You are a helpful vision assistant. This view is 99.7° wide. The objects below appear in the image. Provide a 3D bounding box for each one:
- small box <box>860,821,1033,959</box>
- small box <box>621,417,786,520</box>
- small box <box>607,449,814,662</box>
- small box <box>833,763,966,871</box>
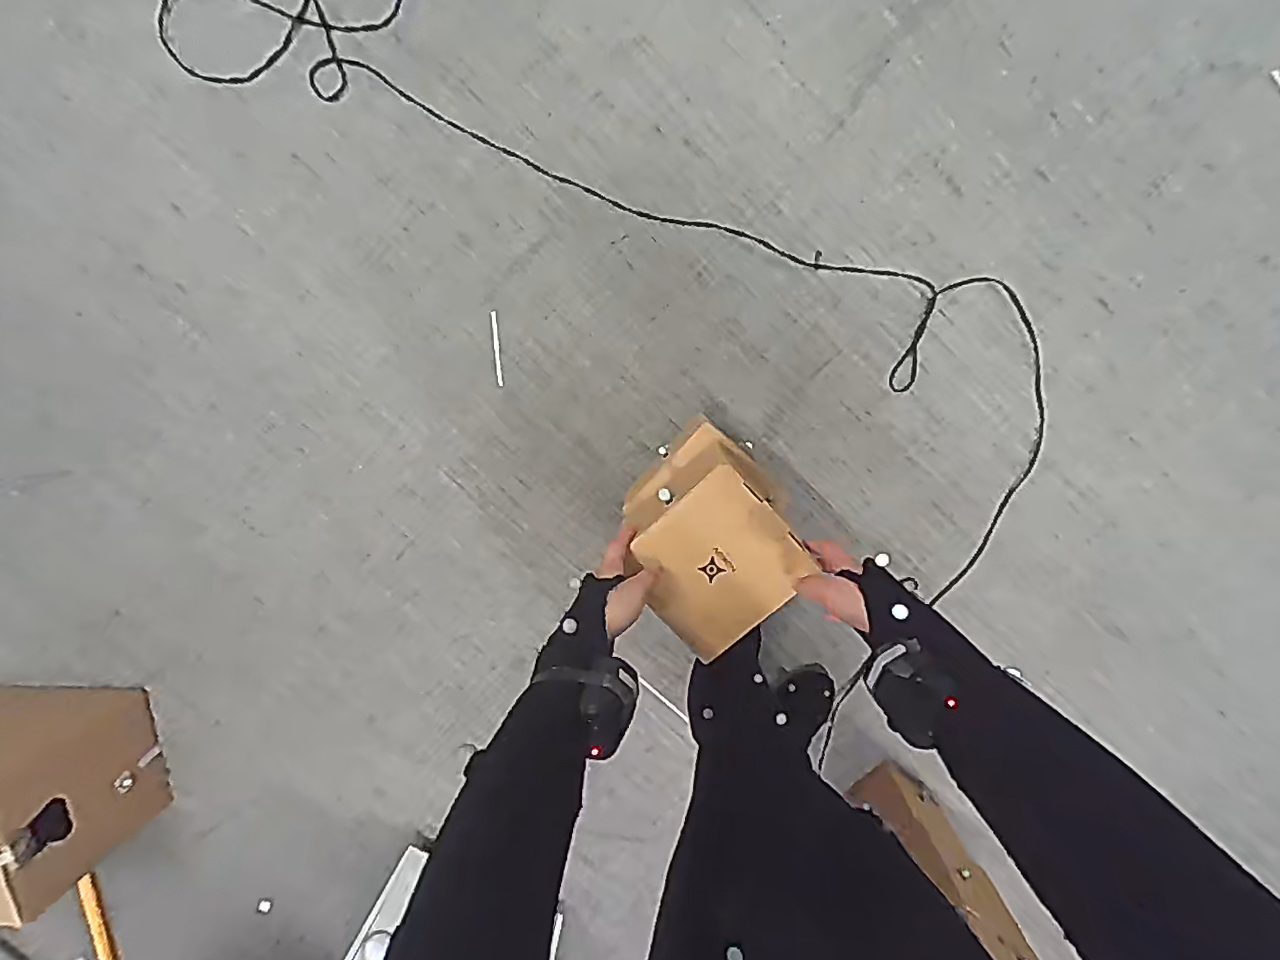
[{"bbox_3d":[0.529,0.757,0.966,0.179,0.176,0.168,38,104,-6],"label":"small box"},{"bbox_3d":[0.094,0.022,0.832,0.168,0.176,0.179,42,101,-6],"label":"small box"},{"bbox_3d":[0.084,0.083,0.680,0.179,0.176,0.168,-42,97,10],"label":"small box"},{"bbox_3d":[0.535,0.731,1.127,0.179,0.176,0.168,41,102,-5],"label":"small box"}]
